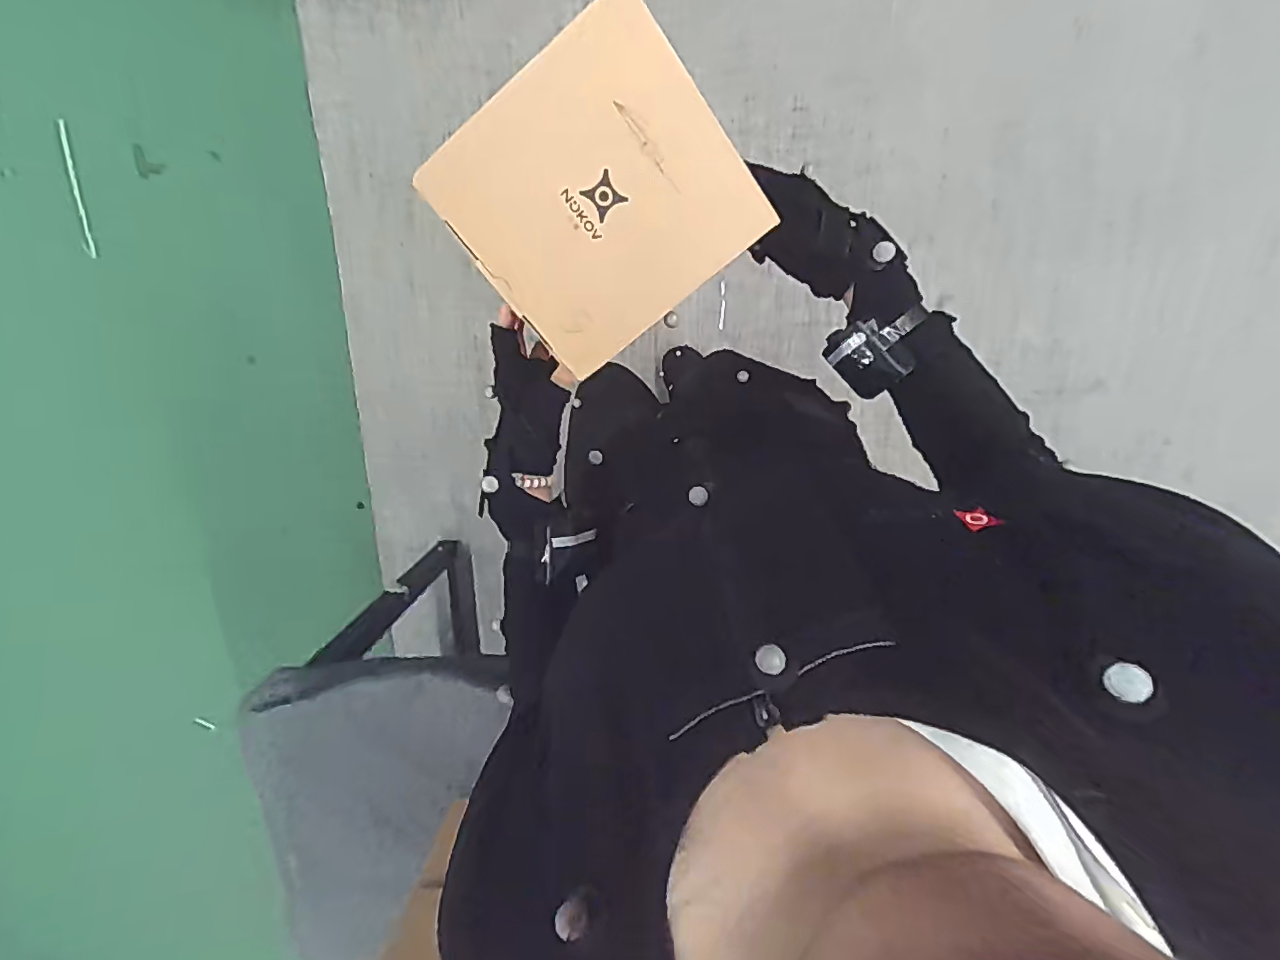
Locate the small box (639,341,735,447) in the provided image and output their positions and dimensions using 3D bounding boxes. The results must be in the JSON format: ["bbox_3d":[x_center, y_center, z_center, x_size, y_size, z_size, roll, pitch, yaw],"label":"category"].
[{"bbox_3d":[0.127,-0.212,1.365,0.168,0.176,0.179,28,82,24],"label":"small box"}]

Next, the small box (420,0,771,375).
[{"bbox_3d":[-0.029,-0.208,0.429,0.179,0.176,0.168,-36,107,9],"label":"small box"}]
